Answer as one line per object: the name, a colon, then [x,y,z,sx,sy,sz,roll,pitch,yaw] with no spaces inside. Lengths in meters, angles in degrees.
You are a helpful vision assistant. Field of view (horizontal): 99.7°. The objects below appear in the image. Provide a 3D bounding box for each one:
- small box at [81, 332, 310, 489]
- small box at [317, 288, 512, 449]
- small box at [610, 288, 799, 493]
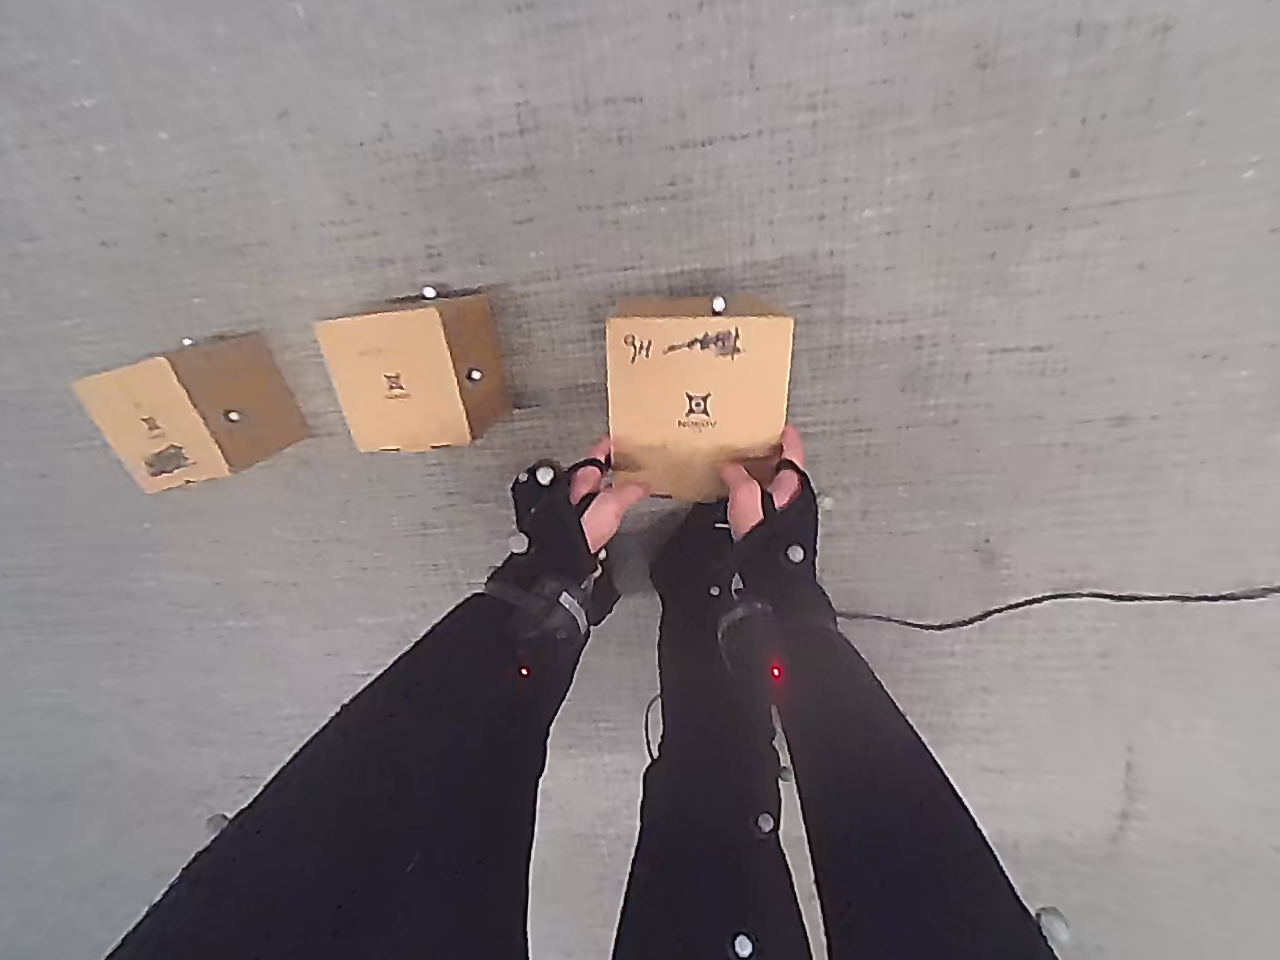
small box: [-0.653,-0.110,0.822,0.168,0.176,0.179,-11,113,13]
small box: [-0.292,-0.158,0.748,0.168,0.176,0.179,-4,114,9]
small box: [0.062,-0.102,0.573,0.168,0.176,0.179,1,115,4]
